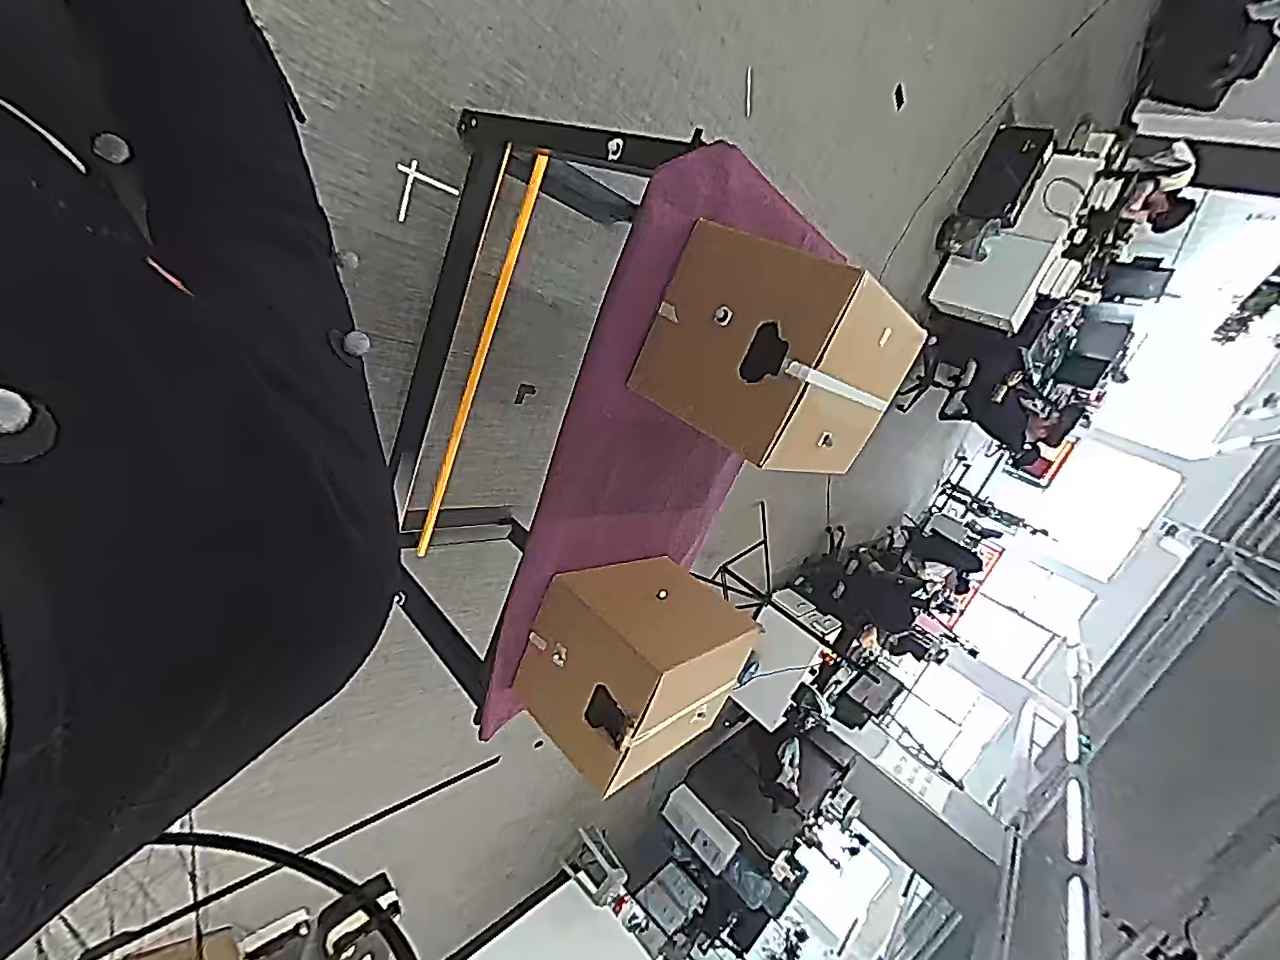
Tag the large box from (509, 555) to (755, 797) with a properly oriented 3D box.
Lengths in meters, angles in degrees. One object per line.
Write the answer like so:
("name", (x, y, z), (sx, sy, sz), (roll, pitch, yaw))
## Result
("large box", (-0.014, 0.394, 1.208), (0.408, 0.320, 0.320), (0, 119, -53))
